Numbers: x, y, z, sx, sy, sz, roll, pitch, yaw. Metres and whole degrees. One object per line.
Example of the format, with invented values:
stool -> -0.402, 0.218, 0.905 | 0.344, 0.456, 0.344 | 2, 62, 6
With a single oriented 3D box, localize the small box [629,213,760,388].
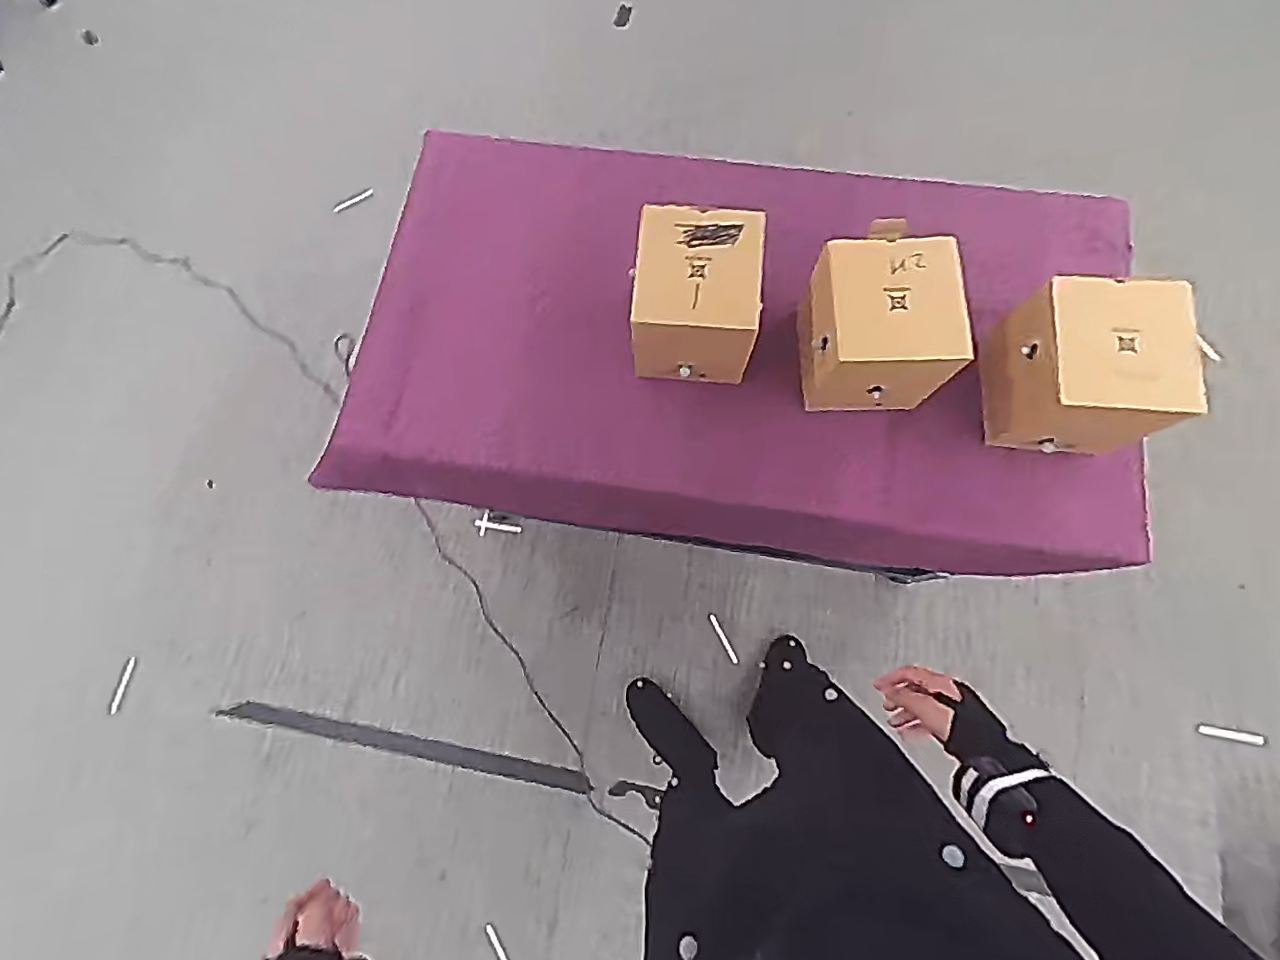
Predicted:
small box -> 0.076, -0.254, 0.790 | 0.168, 0.176, 0.179 | 4, 76, 3

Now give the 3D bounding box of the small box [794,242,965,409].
small box -> 0.324, -0.207, 0.767 | 0.168, 0.176, 0.179 | -1, 75, 2

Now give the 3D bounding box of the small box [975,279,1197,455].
small box -> 0.589, -0.147, 0.742 | 0.168, 0.176, 0.179 | 5, 75, 4
